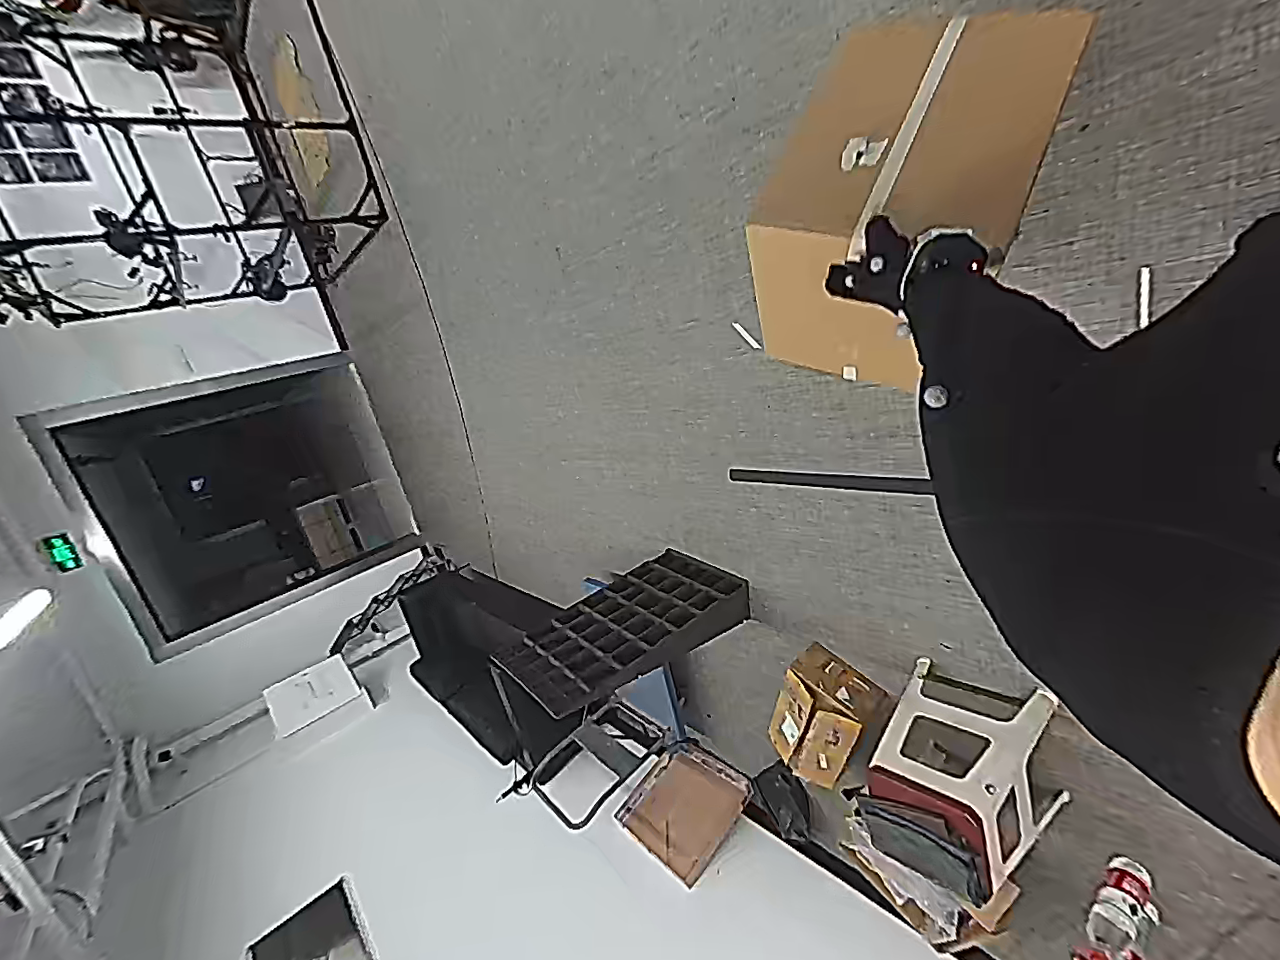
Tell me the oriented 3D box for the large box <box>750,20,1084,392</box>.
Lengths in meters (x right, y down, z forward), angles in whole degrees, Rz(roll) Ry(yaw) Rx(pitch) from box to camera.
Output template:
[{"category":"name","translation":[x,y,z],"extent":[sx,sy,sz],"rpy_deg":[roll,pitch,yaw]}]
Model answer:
[{"category":"large box","translation":[0.407,-0.414,0.848],"extent":[0.320,0.408,0.320],"rpy_deg":[21,166,26]}]
